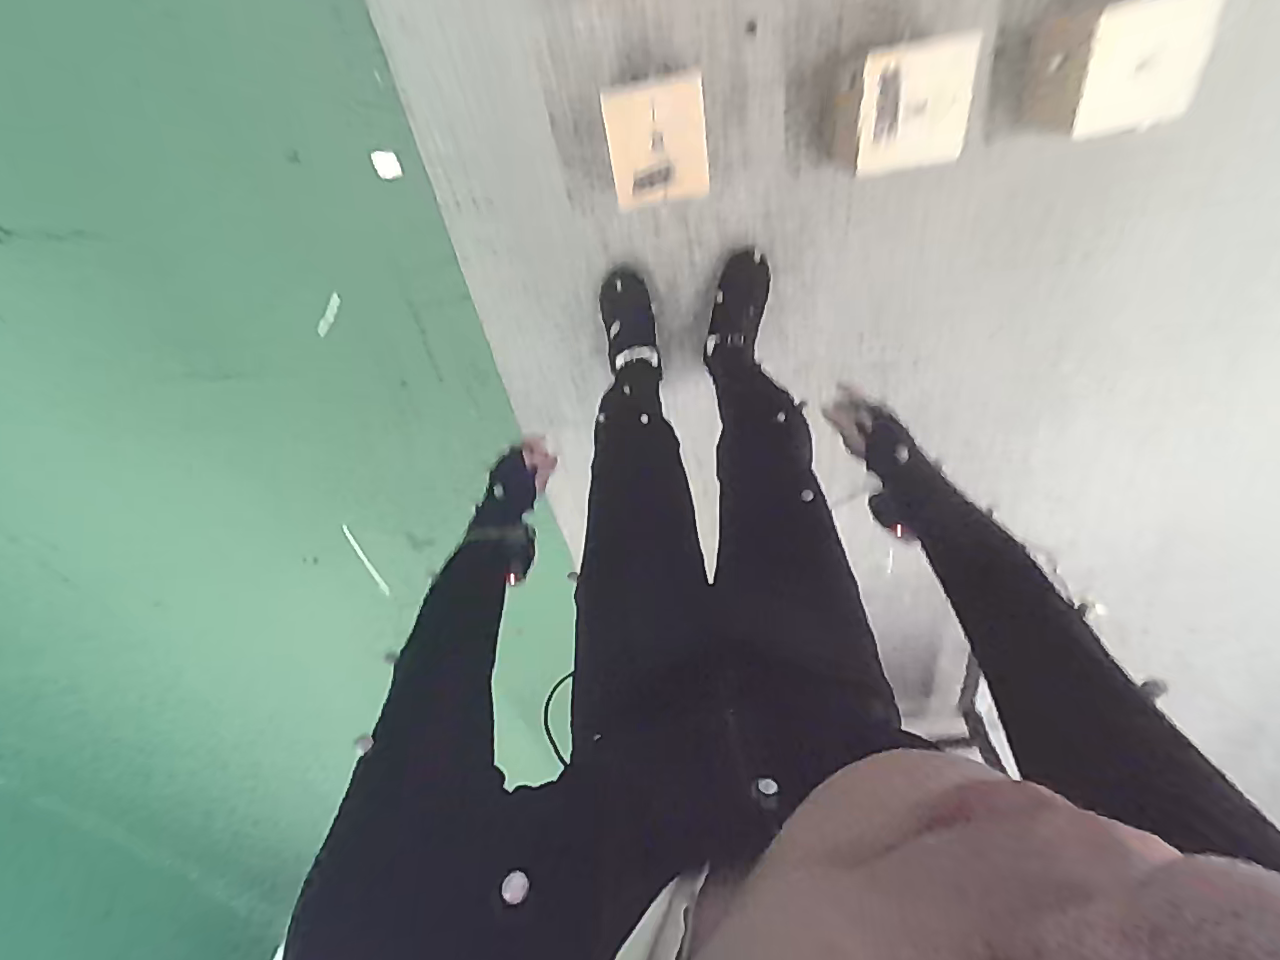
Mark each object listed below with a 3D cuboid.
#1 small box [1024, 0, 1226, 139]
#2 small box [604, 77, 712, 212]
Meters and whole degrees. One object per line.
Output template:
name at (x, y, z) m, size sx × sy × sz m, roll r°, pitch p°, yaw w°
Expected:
small box at (0.786, -0.684, 0.902) m, size 0.179 × 0.176 × 0.168 m, roll -10°, pitch 125°, yaw 7°
small box at (0.036, -0.603, 0.970) m, size 0.168 × 0.176 × 0.179 m, roll -7°, pitch 125°, yaw 6°
